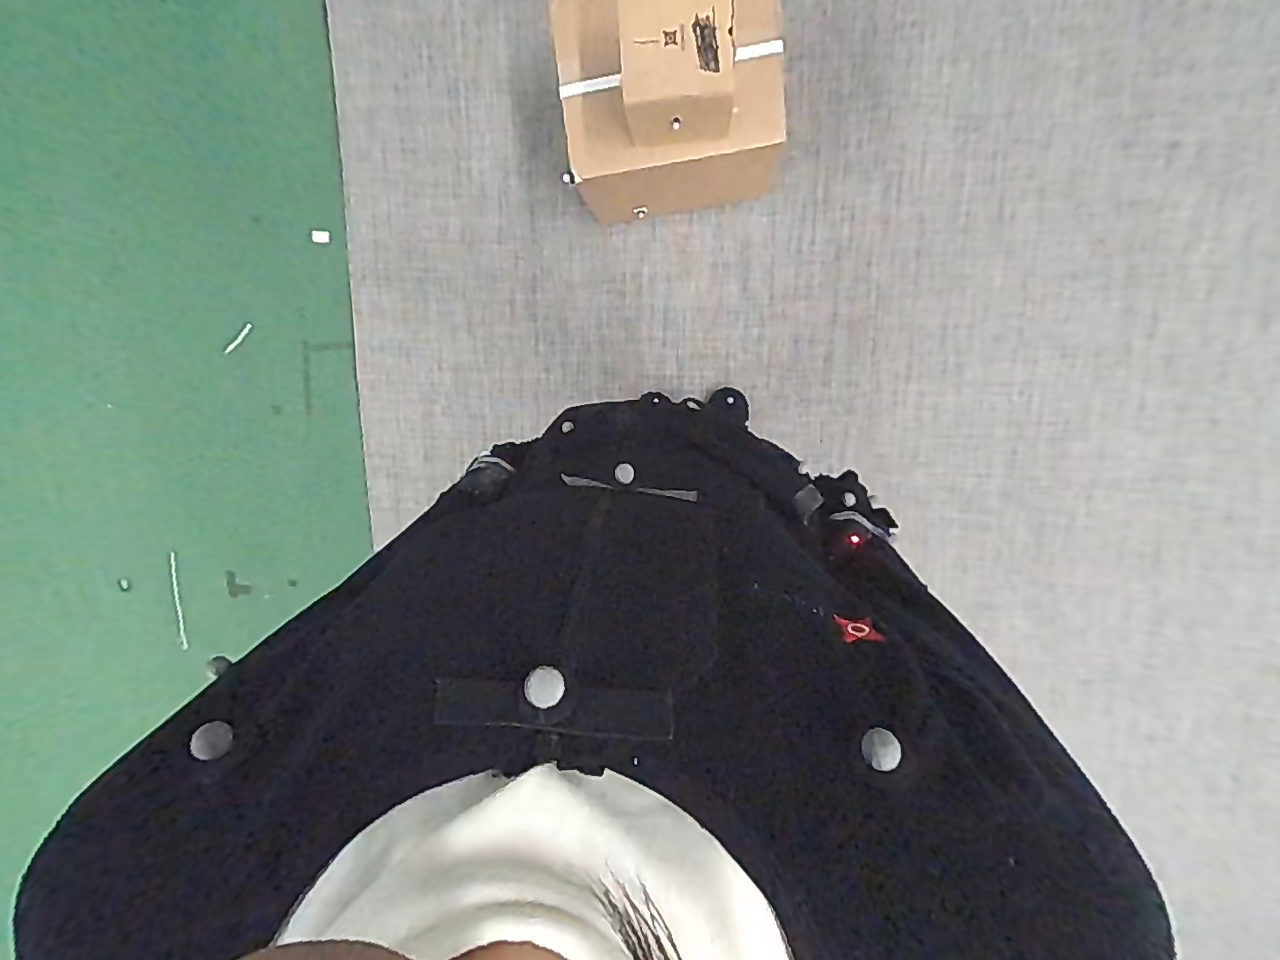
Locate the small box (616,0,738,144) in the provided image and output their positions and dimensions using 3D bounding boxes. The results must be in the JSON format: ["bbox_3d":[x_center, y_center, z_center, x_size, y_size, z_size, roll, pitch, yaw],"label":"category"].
[{"bbox_3d":[0.062,-0.686,0.894,0.179,0.176,0.168,-5,101,6],"label":"small box"}]
